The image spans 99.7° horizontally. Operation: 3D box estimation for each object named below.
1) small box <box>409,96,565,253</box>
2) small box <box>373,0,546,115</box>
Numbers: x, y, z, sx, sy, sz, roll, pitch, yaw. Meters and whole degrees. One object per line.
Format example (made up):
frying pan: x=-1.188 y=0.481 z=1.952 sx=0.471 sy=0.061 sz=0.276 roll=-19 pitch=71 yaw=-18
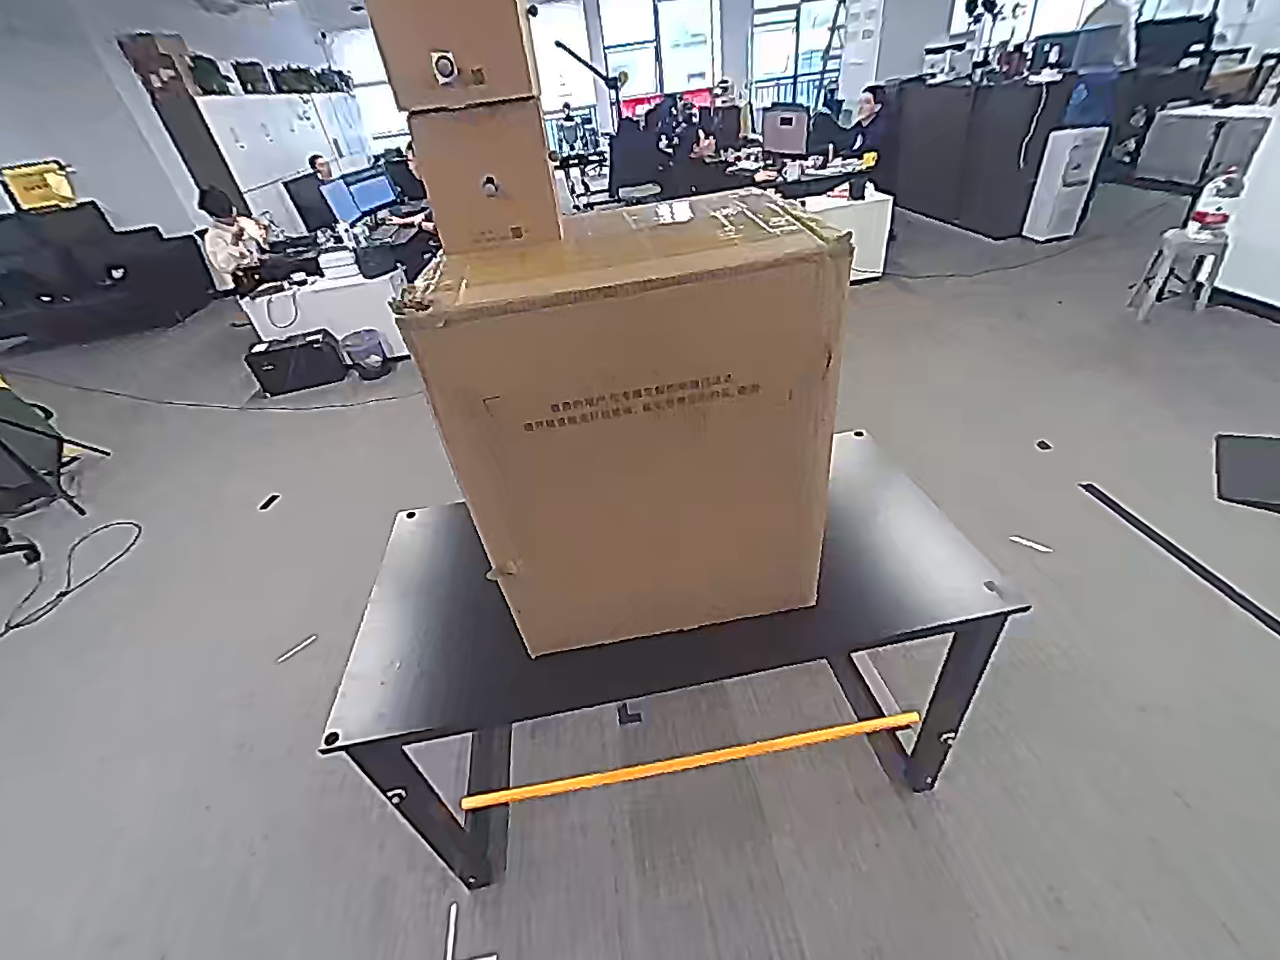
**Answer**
small box: x=-0.202 y=-0.431 z=0.766 sx=0.168 sy=0.176 sz=0.179 roll=-9 pitch=36 yaw=-3
small box: x=-0.214 y=-0.553 z=0.657 sx=0.168 sy=0.176 sz=0.179 roll=-9 pitch=36 yaw=-1
